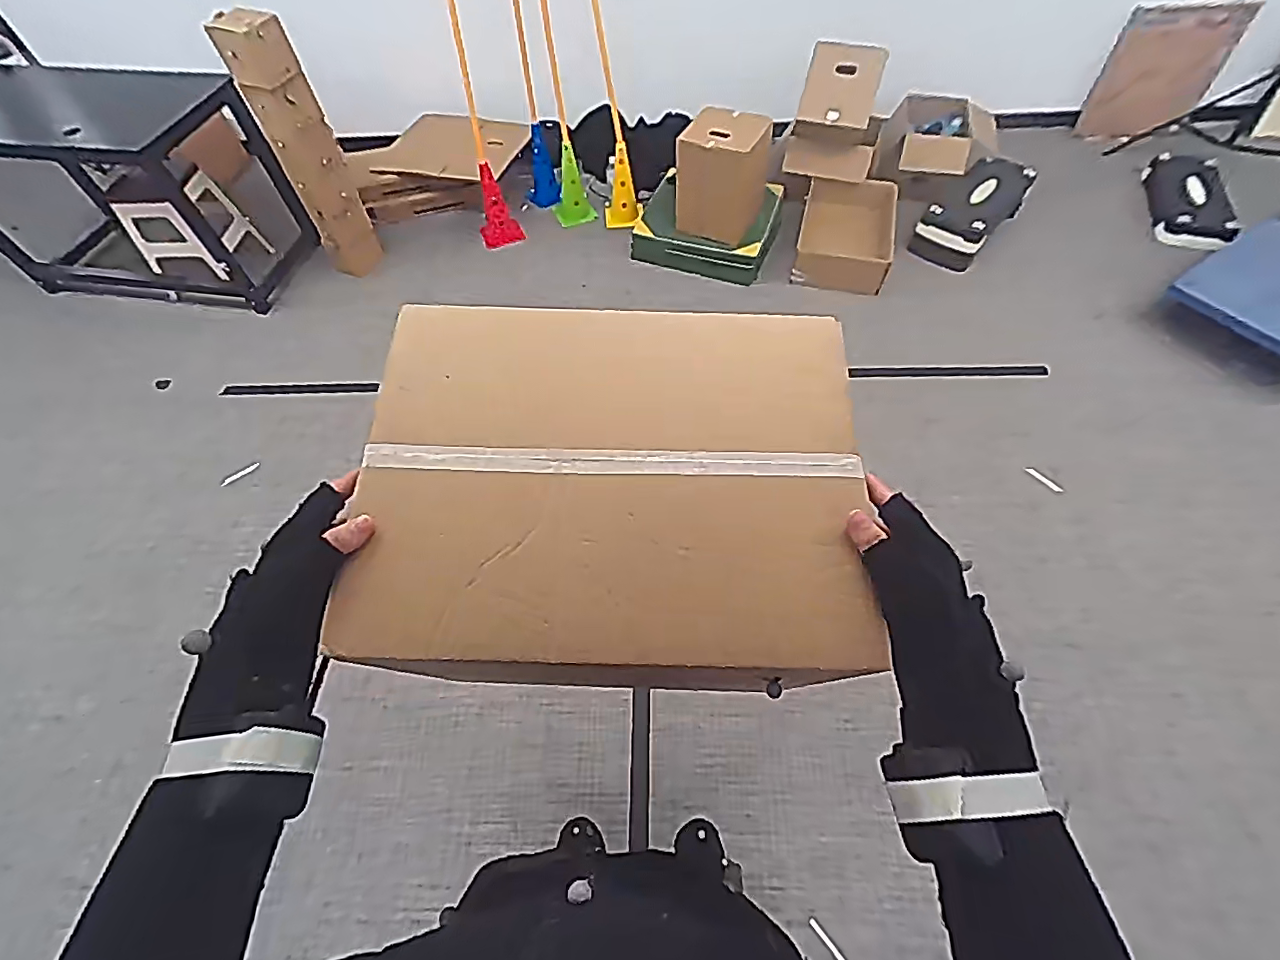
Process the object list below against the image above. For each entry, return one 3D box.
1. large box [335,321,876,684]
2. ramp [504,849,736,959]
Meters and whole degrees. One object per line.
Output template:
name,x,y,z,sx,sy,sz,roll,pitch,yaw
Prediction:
large box,-0.023,0.053,0.587,0.408,0.320,0.320,2,66,-1
ramp,-0.043,1.288,1.018,0.509,0.206,0.991,-1,58,-1
